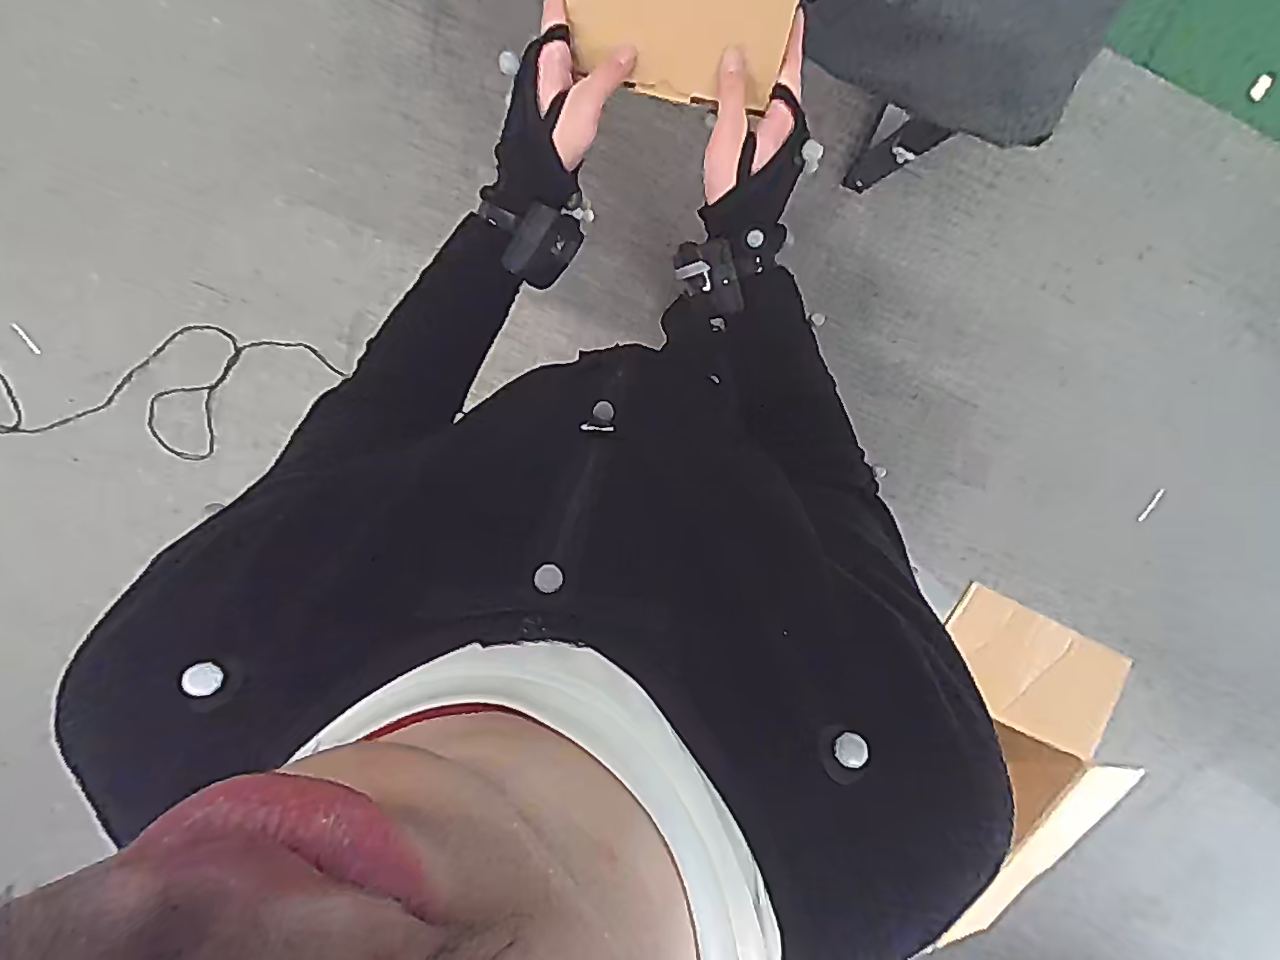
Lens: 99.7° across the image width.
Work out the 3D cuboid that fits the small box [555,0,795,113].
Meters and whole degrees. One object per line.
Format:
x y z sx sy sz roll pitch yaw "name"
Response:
0.043 -0.403 0.419 0.168 0.176 0.179 13 124 2 "small box"
